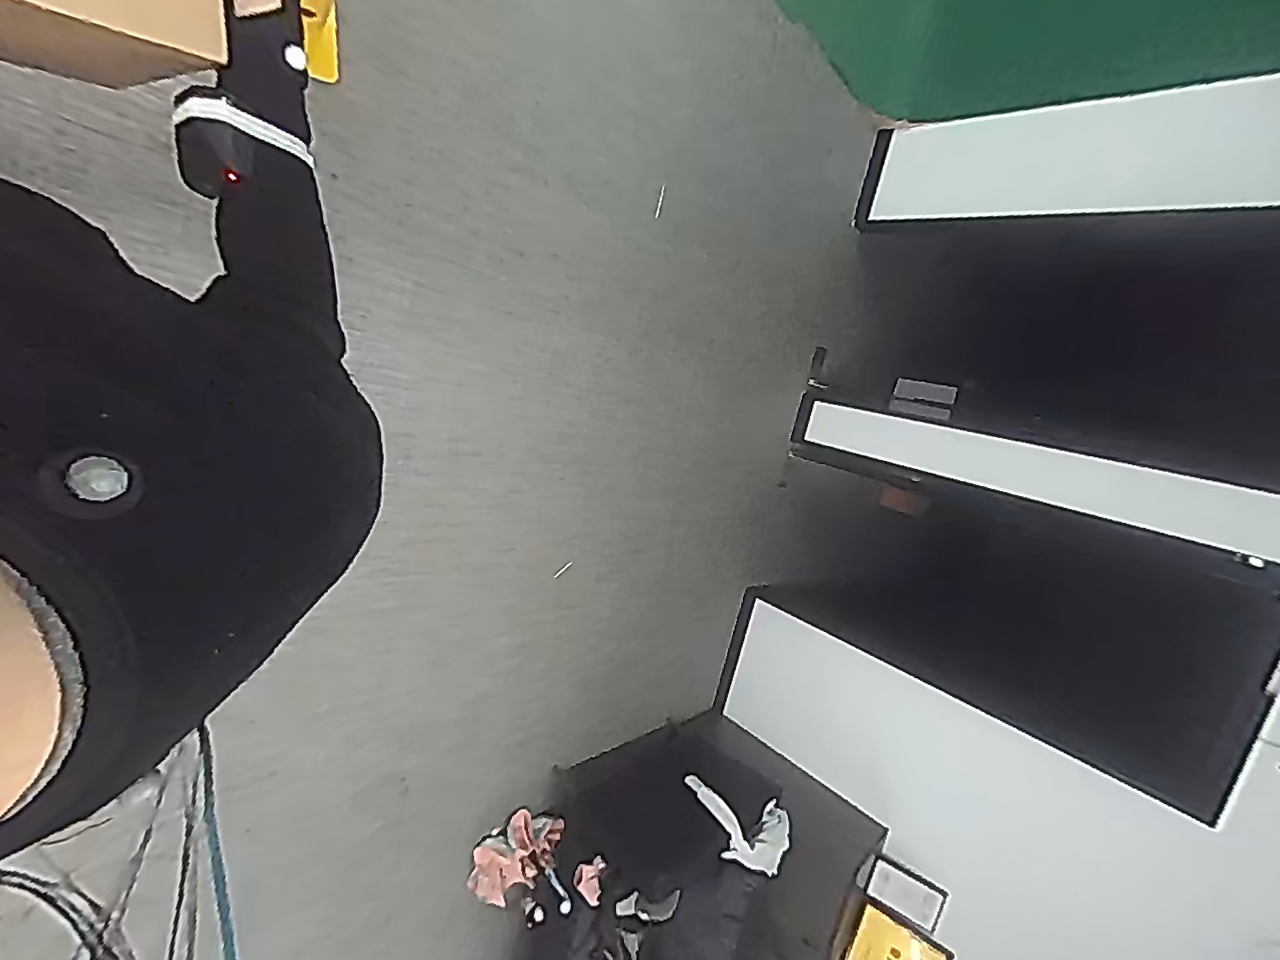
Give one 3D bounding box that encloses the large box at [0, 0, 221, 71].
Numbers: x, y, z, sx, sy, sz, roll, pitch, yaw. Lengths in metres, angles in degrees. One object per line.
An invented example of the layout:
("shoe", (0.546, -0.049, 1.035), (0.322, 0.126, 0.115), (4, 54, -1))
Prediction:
("large box", (-0.536, -0.471, 0.289), (0.408, 0.320, 0.320), (-19, 124, -49))
